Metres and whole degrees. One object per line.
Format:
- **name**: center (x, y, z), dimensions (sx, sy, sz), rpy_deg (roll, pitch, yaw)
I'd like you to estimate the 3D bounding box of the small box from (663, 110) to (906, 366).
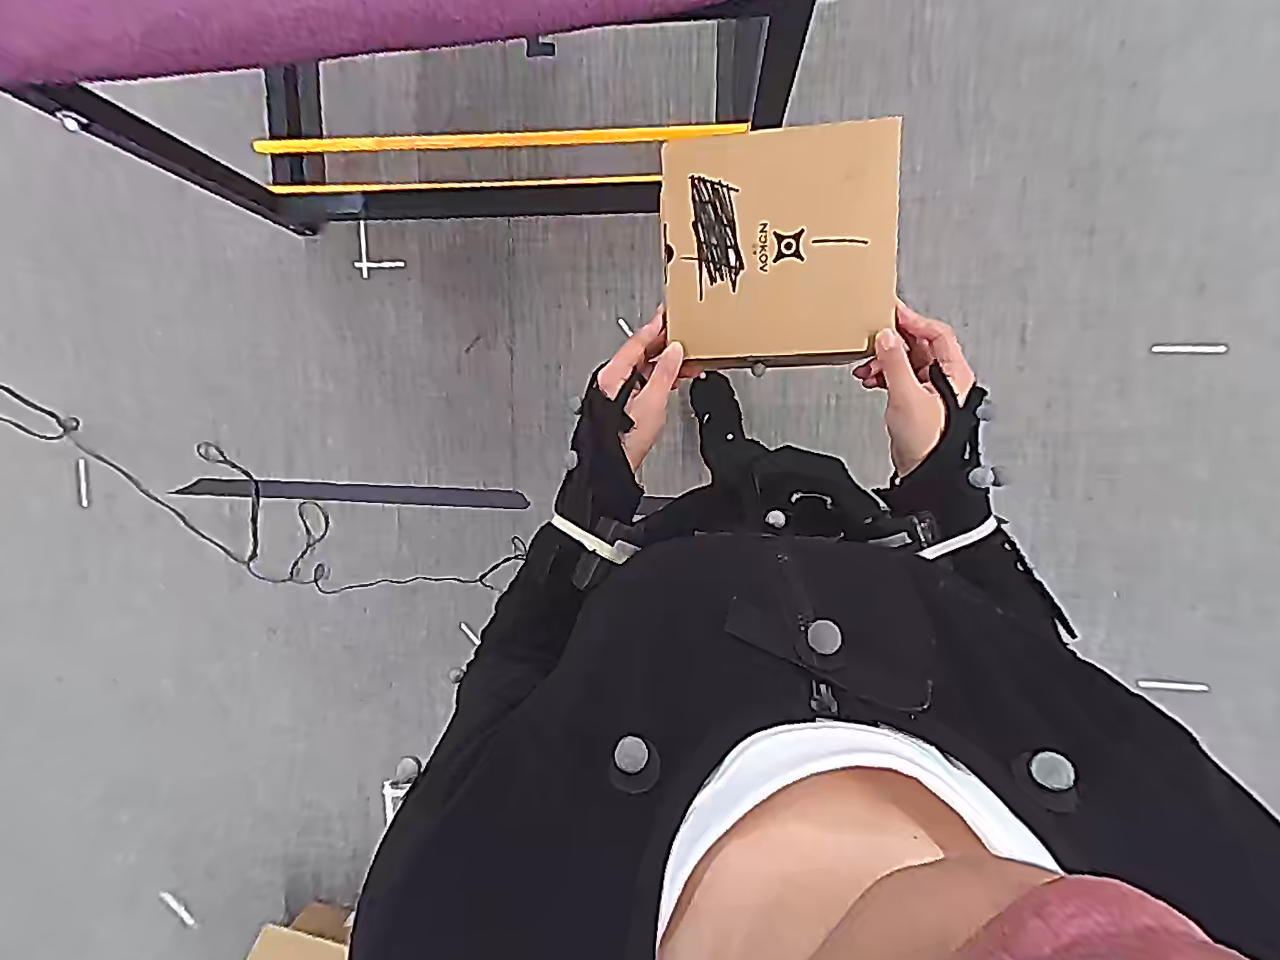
- **small box**: center (0.119, -0.193, 0.486), dimensions (0.179, 0.176, 0.168), rpy_deg (-1, 99, 9)
